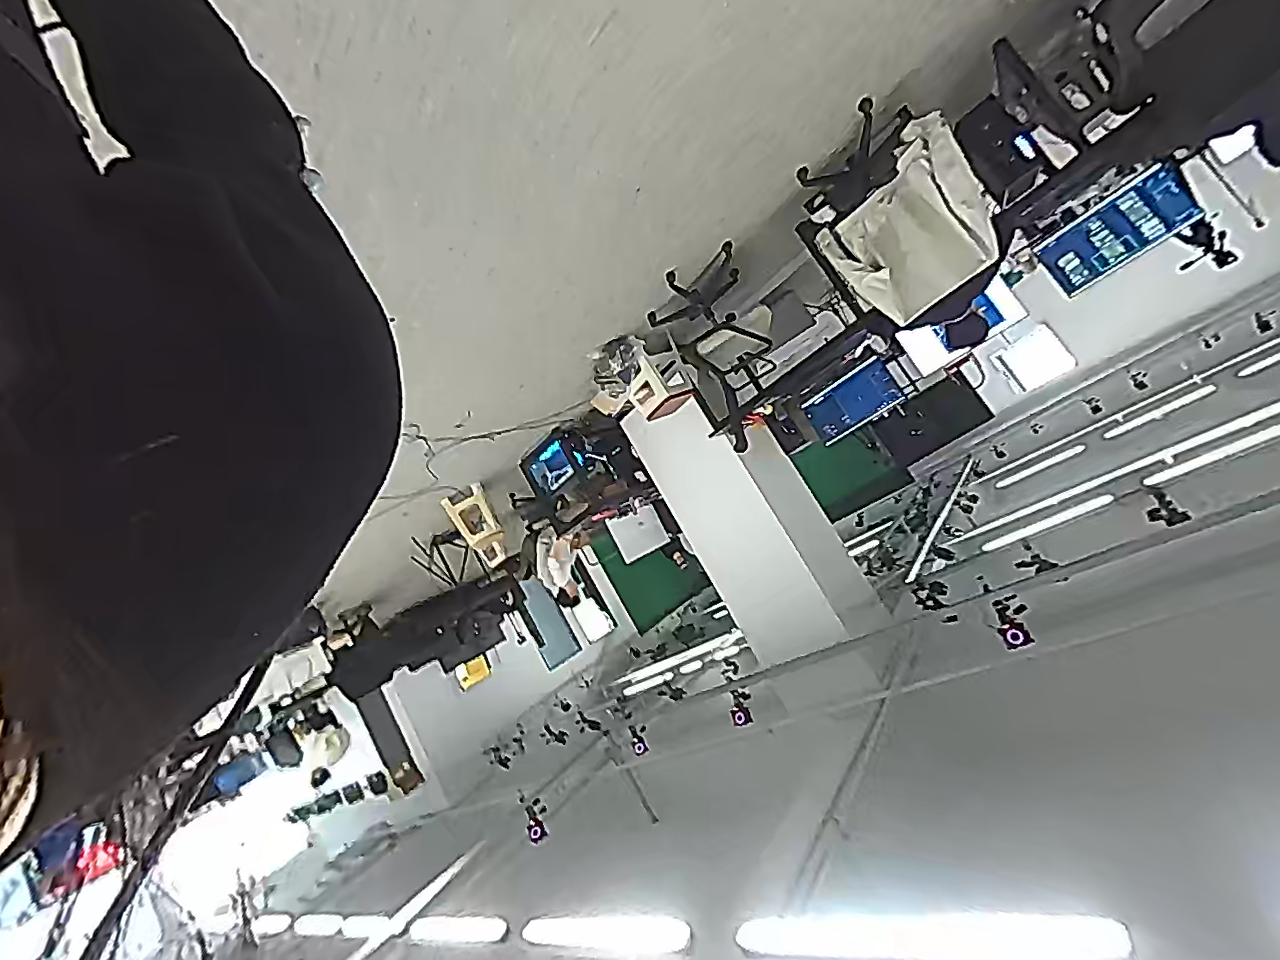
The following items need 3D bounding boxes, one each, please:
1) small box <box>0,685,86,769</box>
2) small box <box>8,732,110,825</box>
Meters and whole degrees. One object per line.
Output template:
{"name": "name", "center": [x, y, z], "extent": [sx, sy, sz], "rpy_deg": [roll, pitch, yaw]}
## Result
{"name": "small box", "center": [-1.804, 0.741, 1.621], "extent": [0.179, 0.176, 0.168], "rpy_deg": [-37, 170, 39]}
{"name": "small box", "center": [-1.723, 0.883, 1.605], "extent": [0.179, 0.176, 0.168], "rpy_deg": [-20, 167, -47]}
